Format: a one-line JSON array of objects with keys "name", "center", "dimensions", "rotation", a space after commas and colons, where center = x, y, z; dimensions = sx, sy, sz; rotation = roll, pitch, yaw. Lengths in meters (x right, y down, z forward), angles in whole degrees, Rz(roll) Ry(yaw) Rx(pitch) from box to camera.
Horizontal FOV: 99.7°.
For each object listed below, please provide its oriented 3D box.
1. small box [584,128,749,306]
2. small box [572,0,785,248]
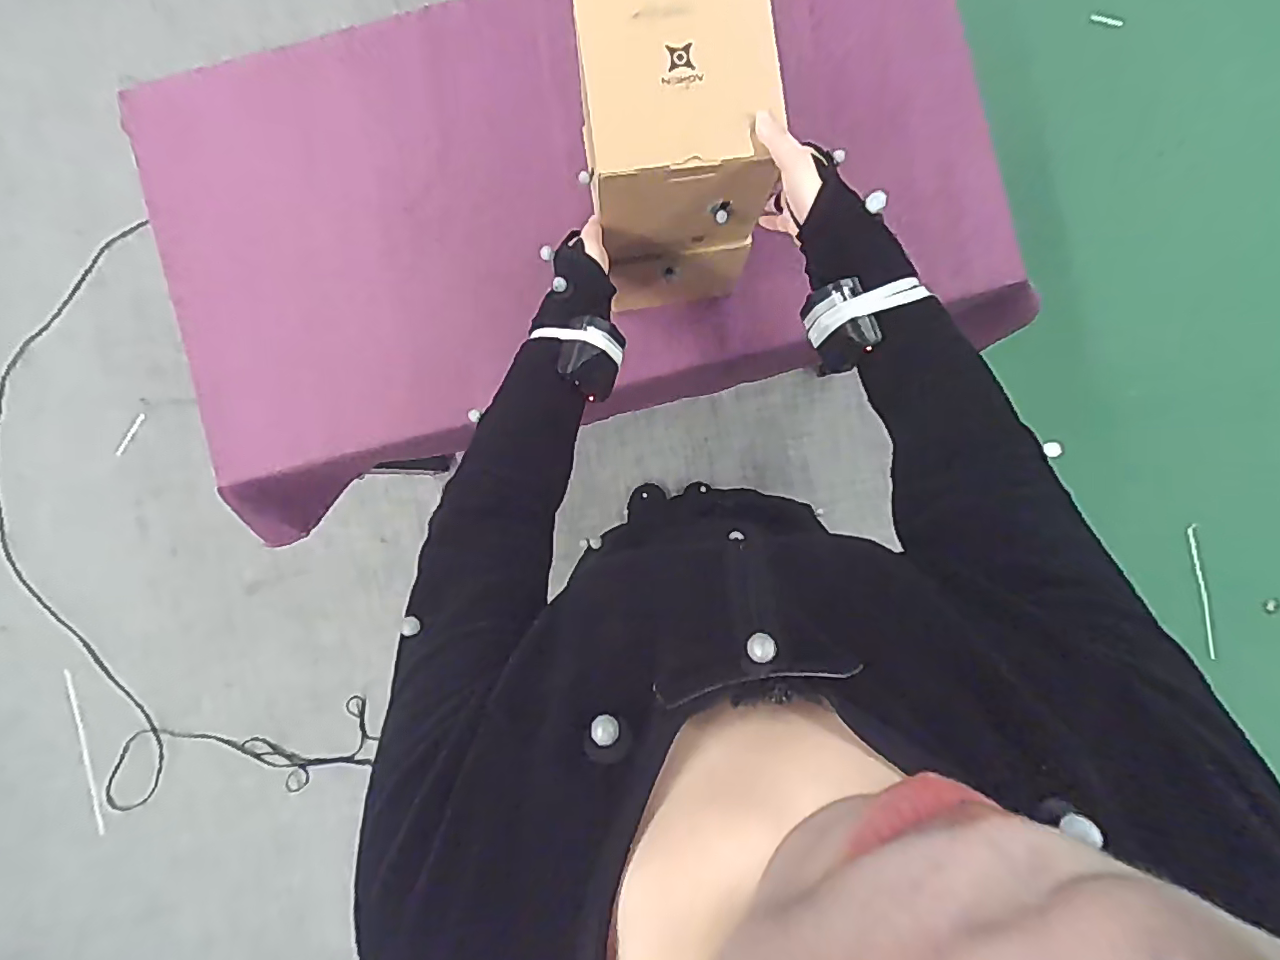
[{"name": "small box", "center": [0.034, -0.338, 0.699], "dimensions": [0.179, 0.176, 0.168], "rotation": [-8, 90, 2]}, {"name": "small box", "center": [0.032, -0.347, 0.533], "dimensions": [0.168, 0.176, 0.179], "rotation": [-7, 89, -1]}]
